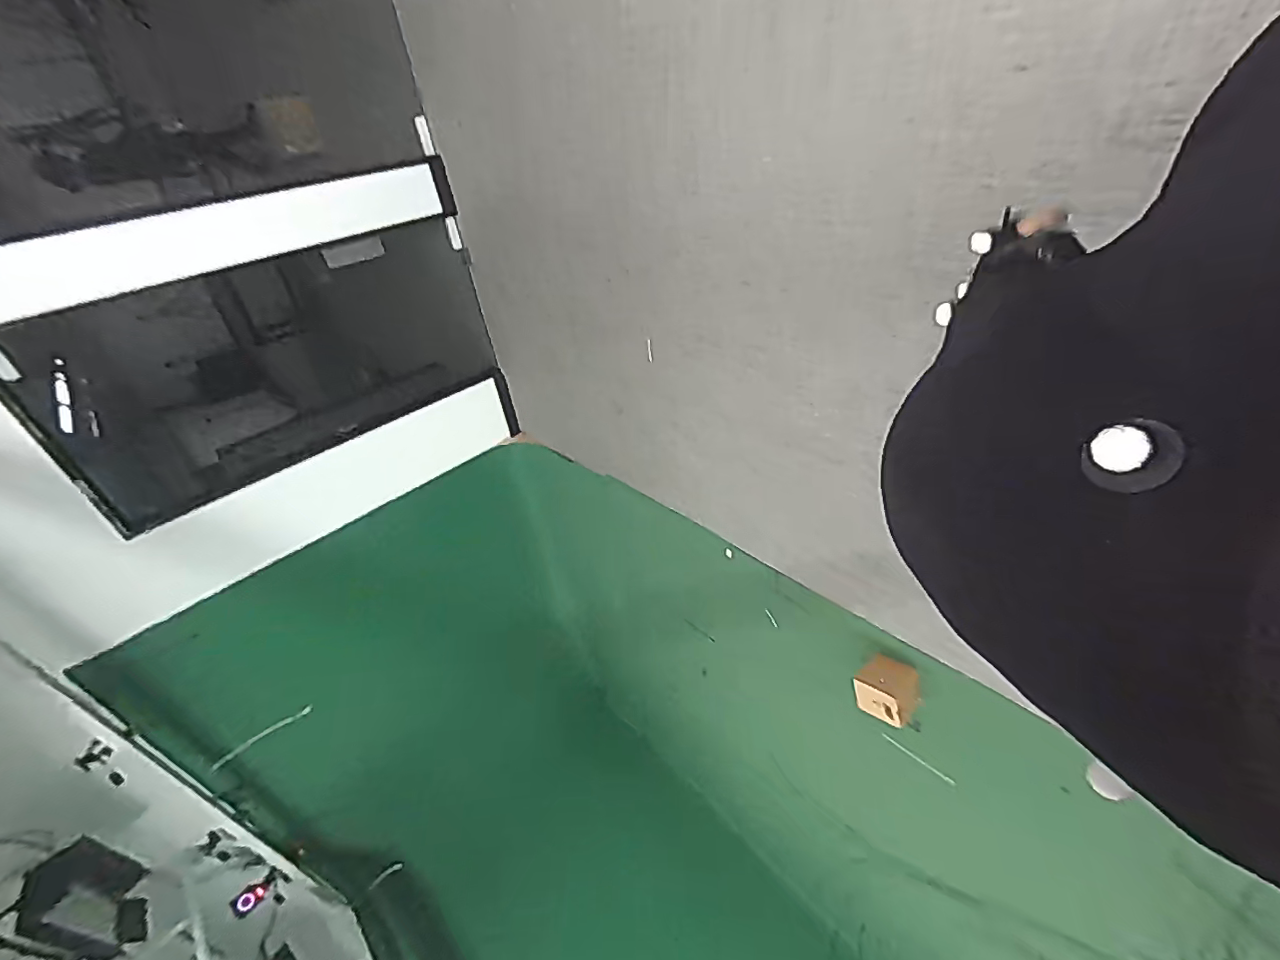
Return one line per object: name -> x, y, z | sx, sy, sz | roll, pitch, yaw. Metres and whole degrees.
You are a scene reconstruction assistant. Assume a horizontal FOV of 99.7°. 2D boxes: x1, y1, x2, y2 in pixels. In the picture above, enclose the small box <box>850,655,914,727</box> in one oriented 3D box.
small box -> 0.960, 0.821, 2.130 | 0.179, 0.176, 0.168 | 13, 128, 50
